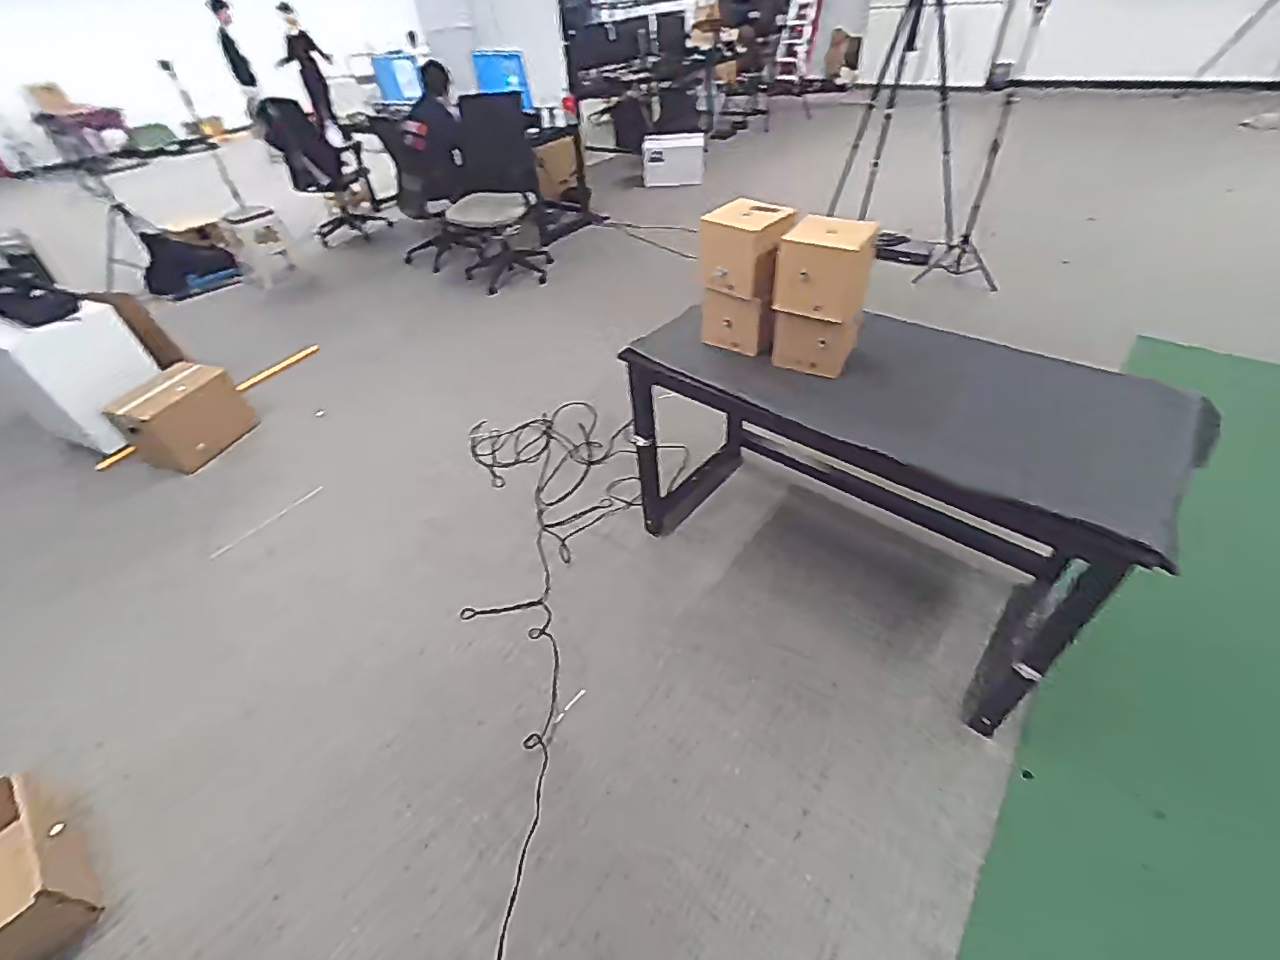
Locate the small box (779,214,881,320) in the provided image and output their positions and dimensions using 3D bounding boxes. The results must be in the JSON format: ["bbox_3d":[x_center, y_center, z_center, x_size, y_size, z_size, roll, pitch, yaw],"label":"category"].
[{"bbox_3d":[0.428,-0.487,1.239,0.168,0.176,0.179,22,49,25],"label":"small box"}]

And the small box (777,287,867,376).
[{"bbox_3d":[0.454,-0.387,1.366,0.168,0.176,0.179,20,48,24],"label":"small box"}]
